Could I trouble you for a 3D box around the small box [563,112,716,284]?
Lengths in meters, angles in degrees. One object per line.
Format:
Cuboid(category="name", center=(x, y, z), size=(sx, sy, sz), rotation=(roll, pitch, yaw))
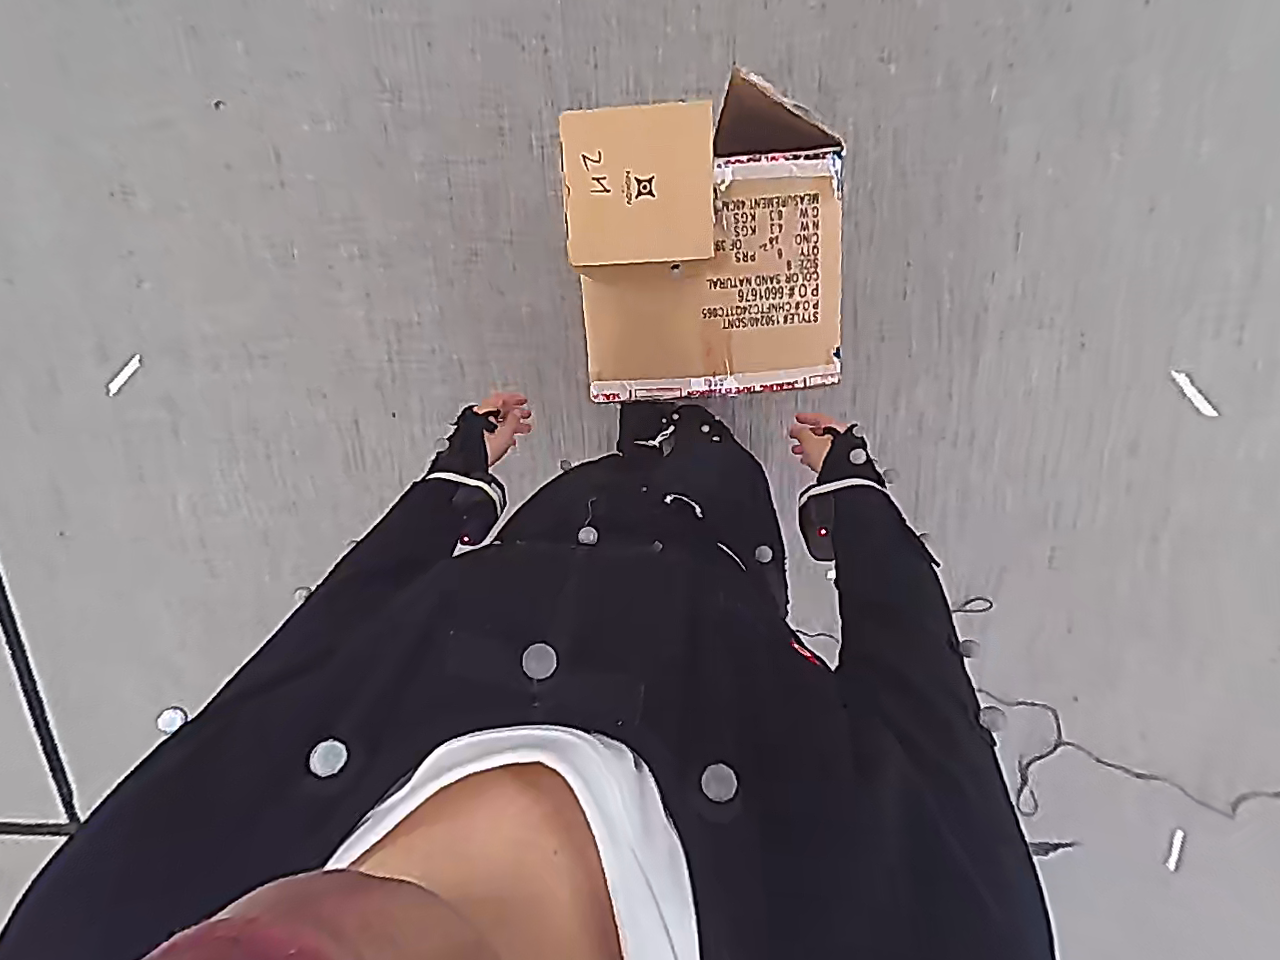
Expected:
Cuboid(category="small box", center=(0.006, -0.353, 0.707), size=(0.179, 0.176, 0.168), rotation=(-1, 104, 5))
